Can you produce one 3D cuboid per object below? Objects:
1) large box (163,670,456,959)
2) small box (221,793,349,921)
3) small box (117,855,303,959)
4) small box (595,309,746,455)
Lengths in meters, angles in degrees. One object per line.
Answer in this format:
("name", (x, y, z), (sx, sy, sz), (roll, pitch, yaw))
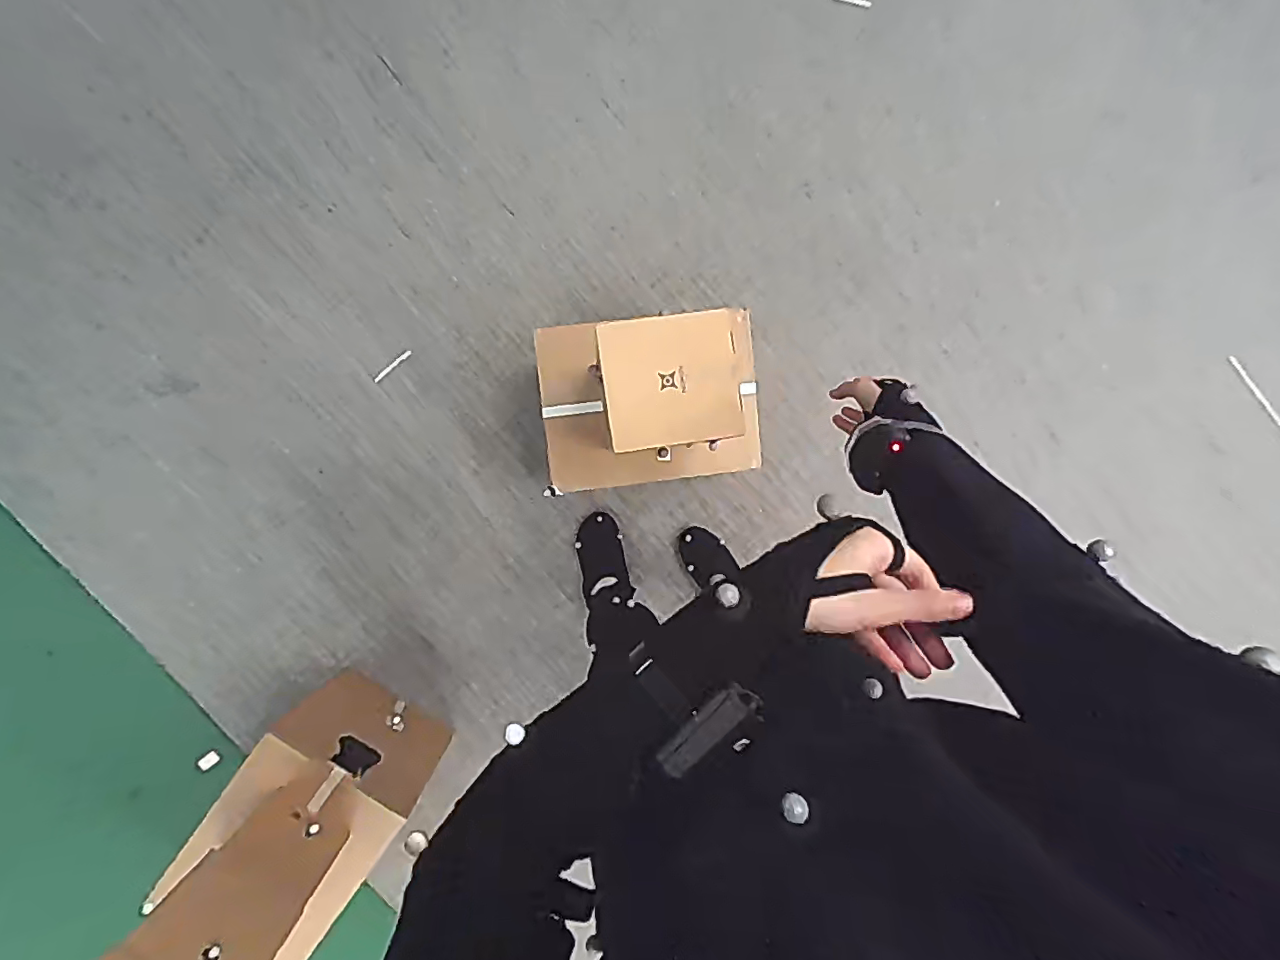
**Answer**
("large box", (-0.670, 0.707, 1.170), (0.320, 0.320, 0.408), (35, 91, -2))
("small box", (-0.643, 0.693, 0.926), (0.168, 0.176, 0.179), (38, 90, -5))
("small box", (-0.631, 0.688, 0.762), (0.179, 0.176, 0.168), (40, 90, -5))
("small box", (0.036, -0.128, 0.767), (0.179, 0.176, 0.168), (-9, 93, -4))
